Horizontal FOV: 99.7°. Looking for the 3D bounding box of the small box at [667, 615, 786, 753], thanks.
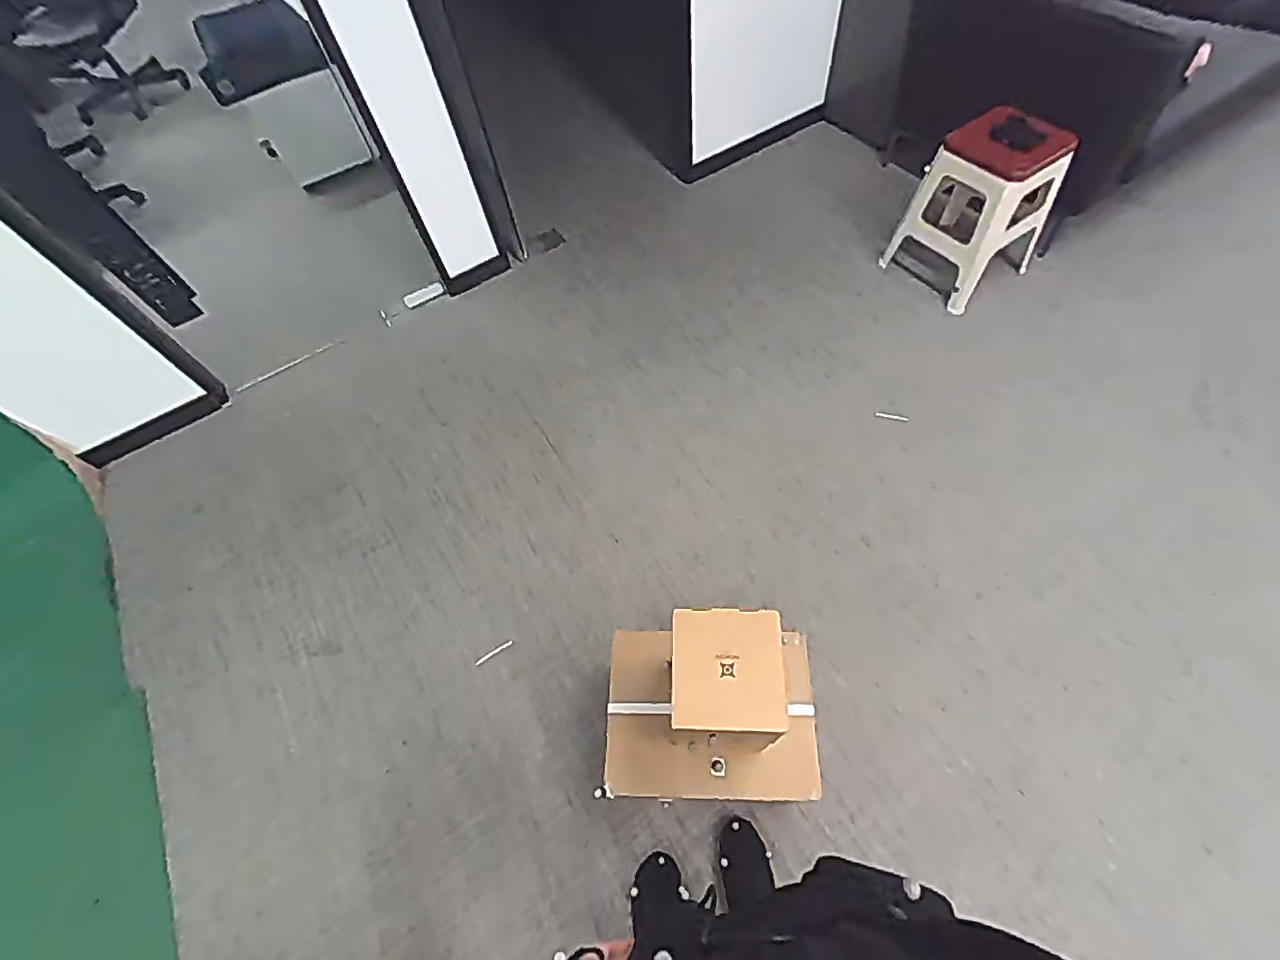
[{"bbox_3d":[0.132,0.326,0.854,0.168,0.176,0.179,-1,56,6],"label":"small box"}]
